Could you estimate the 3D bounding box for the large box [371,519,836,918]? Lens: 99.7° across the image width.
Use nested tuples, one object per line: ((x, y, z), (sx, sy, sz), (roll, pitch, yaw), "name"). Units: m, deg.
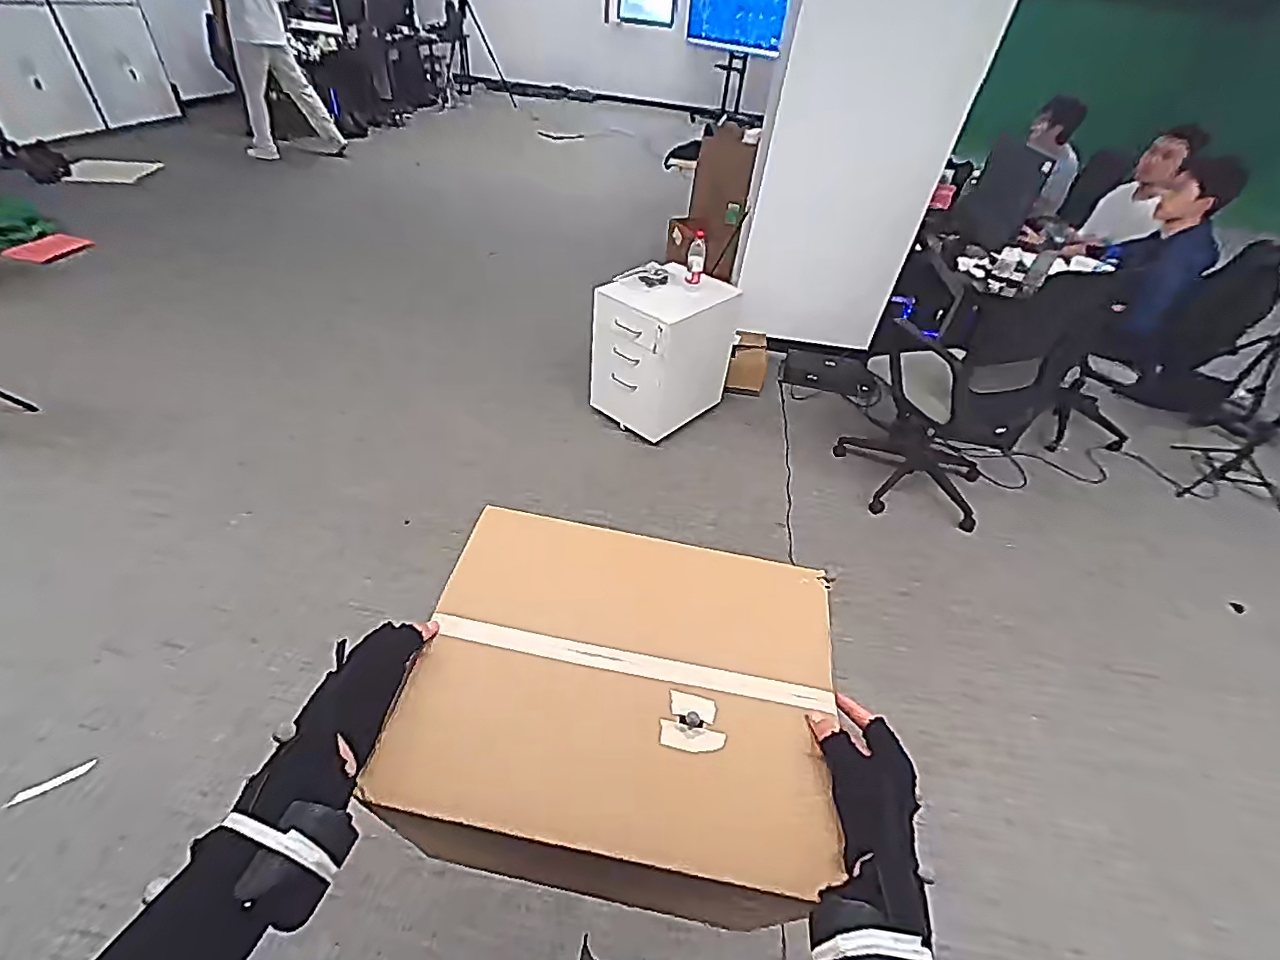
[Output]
((-0.027, 0.289, 0.655), (0.408, 0.320, 0.320), (11, 48, 2), "large box")
